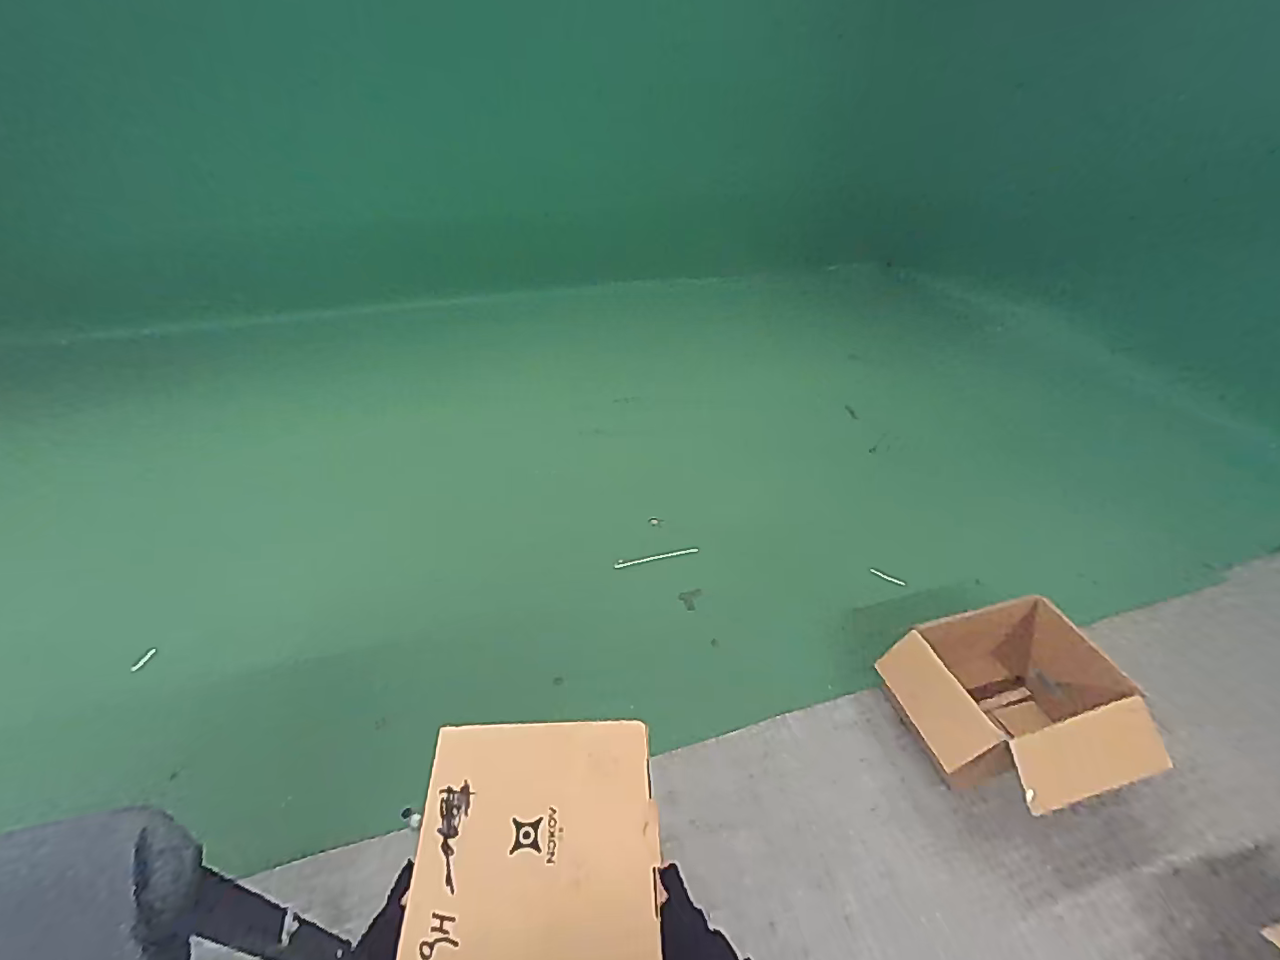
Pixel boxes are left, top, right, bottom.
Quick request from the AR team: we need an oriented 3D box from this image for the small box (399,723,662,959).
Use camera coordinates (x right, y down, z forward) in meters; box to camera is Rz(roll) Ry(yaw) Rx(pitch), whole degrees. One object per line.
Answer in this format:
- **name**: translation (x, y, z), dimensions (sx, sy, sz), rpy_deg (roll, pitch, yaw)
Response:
- **small box**: translation (-0.082, 0.325, 0.465), dimensions (0.179, 0.176, 0.168), rpy_deg (2, 45, -5)
